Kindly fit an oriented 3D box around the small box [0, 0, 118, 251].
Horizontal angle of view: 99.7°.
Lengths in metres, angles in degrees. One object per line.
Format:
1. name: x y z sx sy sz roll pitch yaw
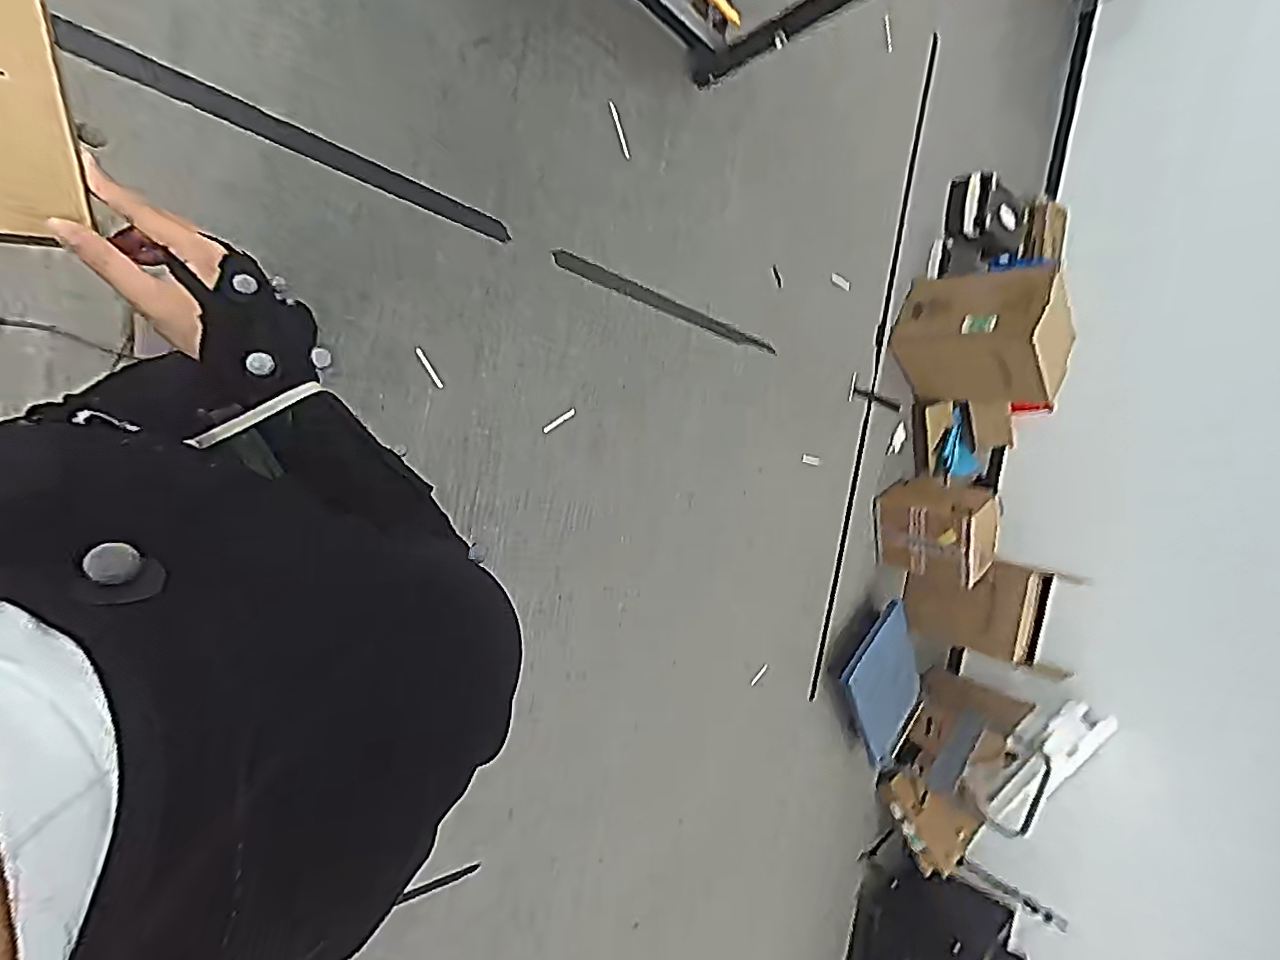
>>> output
1. small box: -0.421 -0.225 0.297 0.179 0.176 0.168 -12 114 -43
